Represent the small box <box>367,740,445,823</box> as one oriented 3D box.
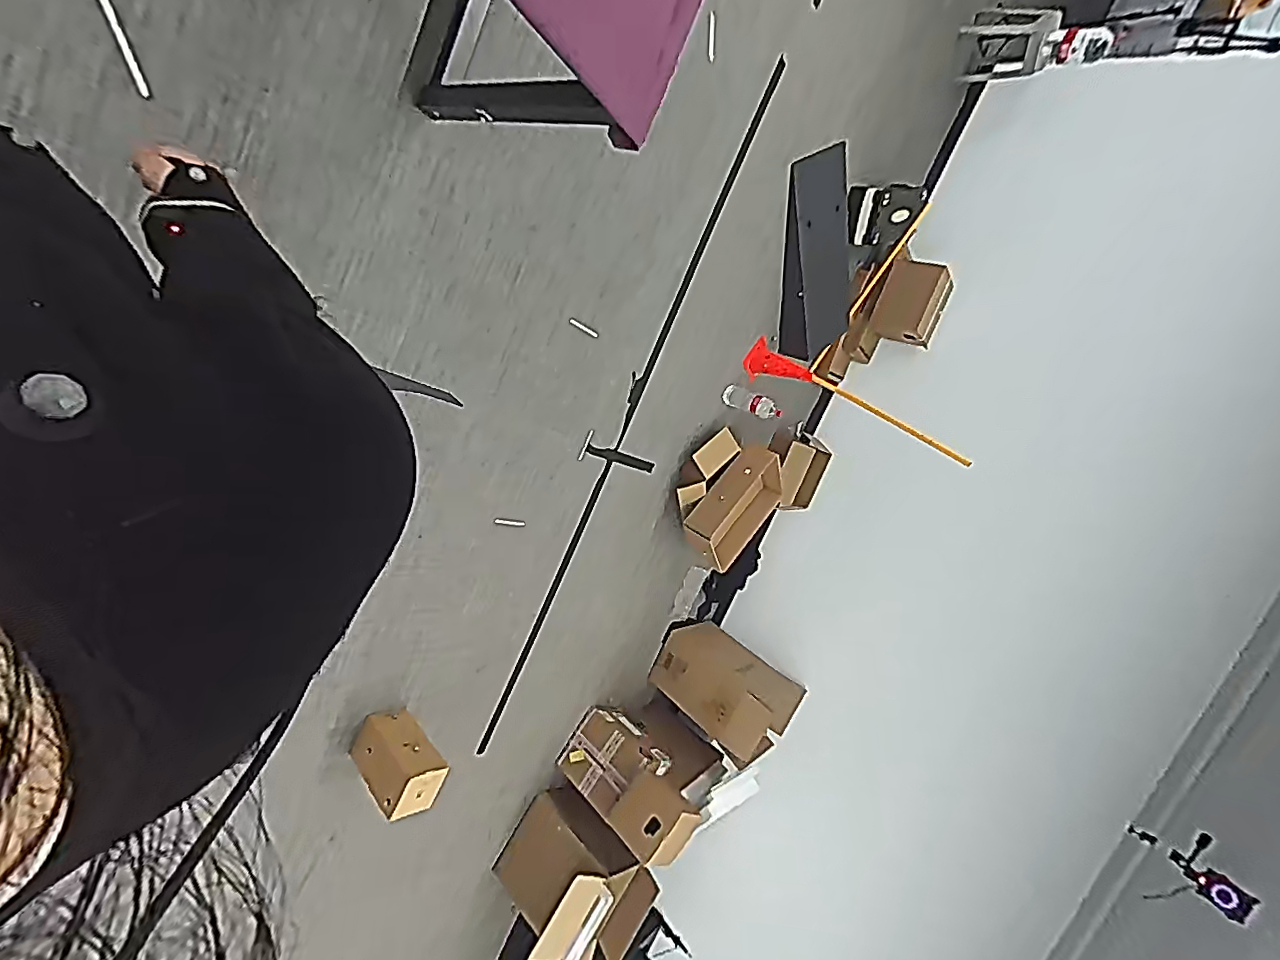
[{"bbox_3d":[-0.837,1.063,1.921,0.168,0.176,0.179,21,96,-56],"label":"small box"}]
